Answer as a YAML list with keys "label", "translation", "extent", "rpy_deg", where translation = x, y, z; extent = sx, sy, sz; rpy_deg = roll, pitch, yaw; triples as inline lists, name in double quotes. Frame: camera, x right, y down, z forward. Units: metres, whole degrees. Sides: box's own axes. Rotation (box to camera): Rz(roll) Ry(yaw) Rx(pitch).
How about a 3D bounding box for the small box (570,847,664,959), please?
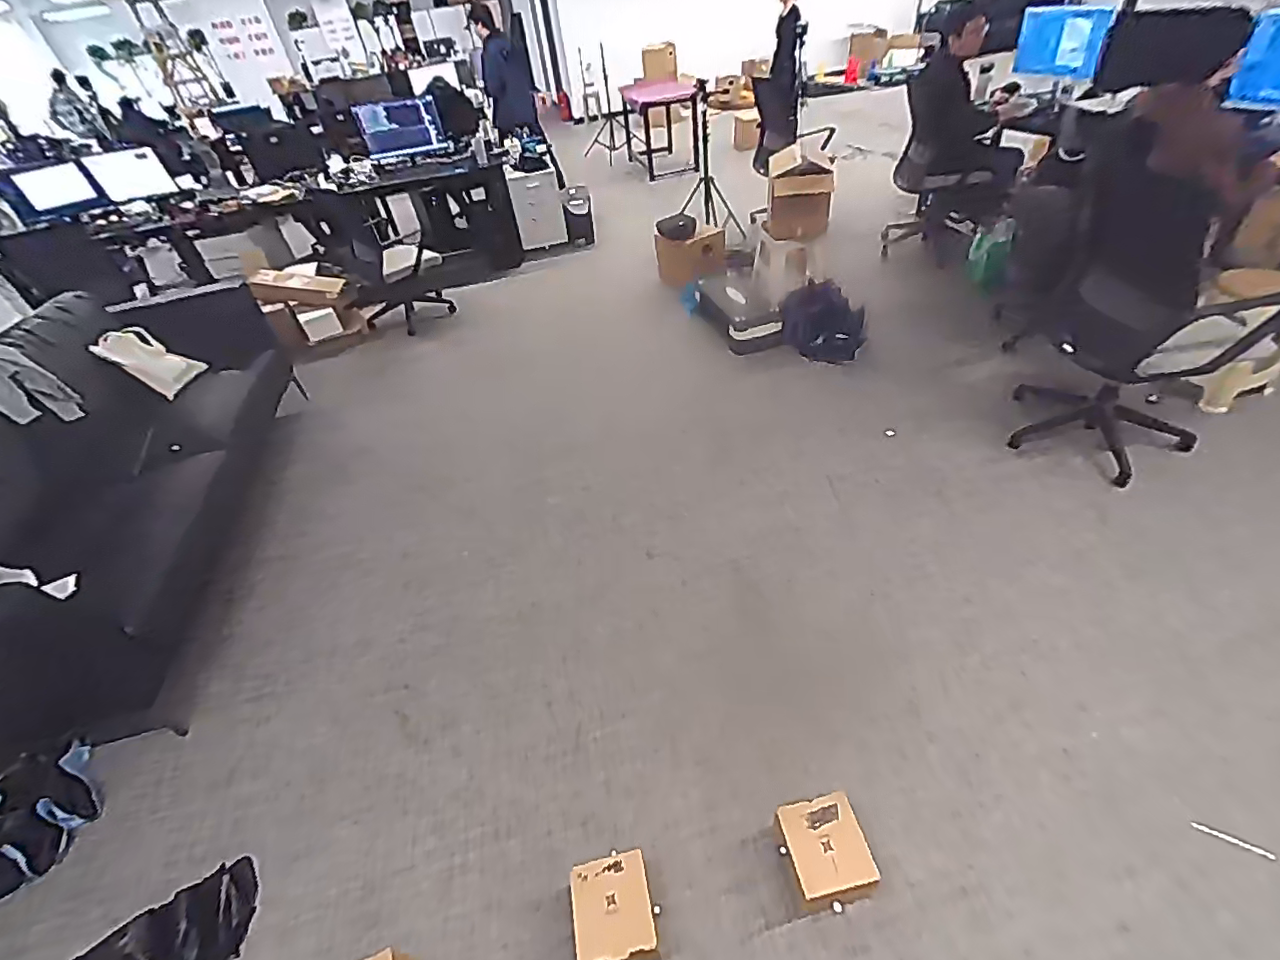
- label: "small box"
  translation: [-0.049, 0.951, 1.195]
  extent: [0.168, 0.176, 0.179]
  rpy_deg: [-13, 42, -4]

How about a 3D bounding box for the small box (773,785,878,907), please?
- label: "small box"
  translation: [0.412, 0.836, 1.235]
  extent: [0.168, 0.176, 0.179]
  rpy_deg: [-14, 43, -3]
